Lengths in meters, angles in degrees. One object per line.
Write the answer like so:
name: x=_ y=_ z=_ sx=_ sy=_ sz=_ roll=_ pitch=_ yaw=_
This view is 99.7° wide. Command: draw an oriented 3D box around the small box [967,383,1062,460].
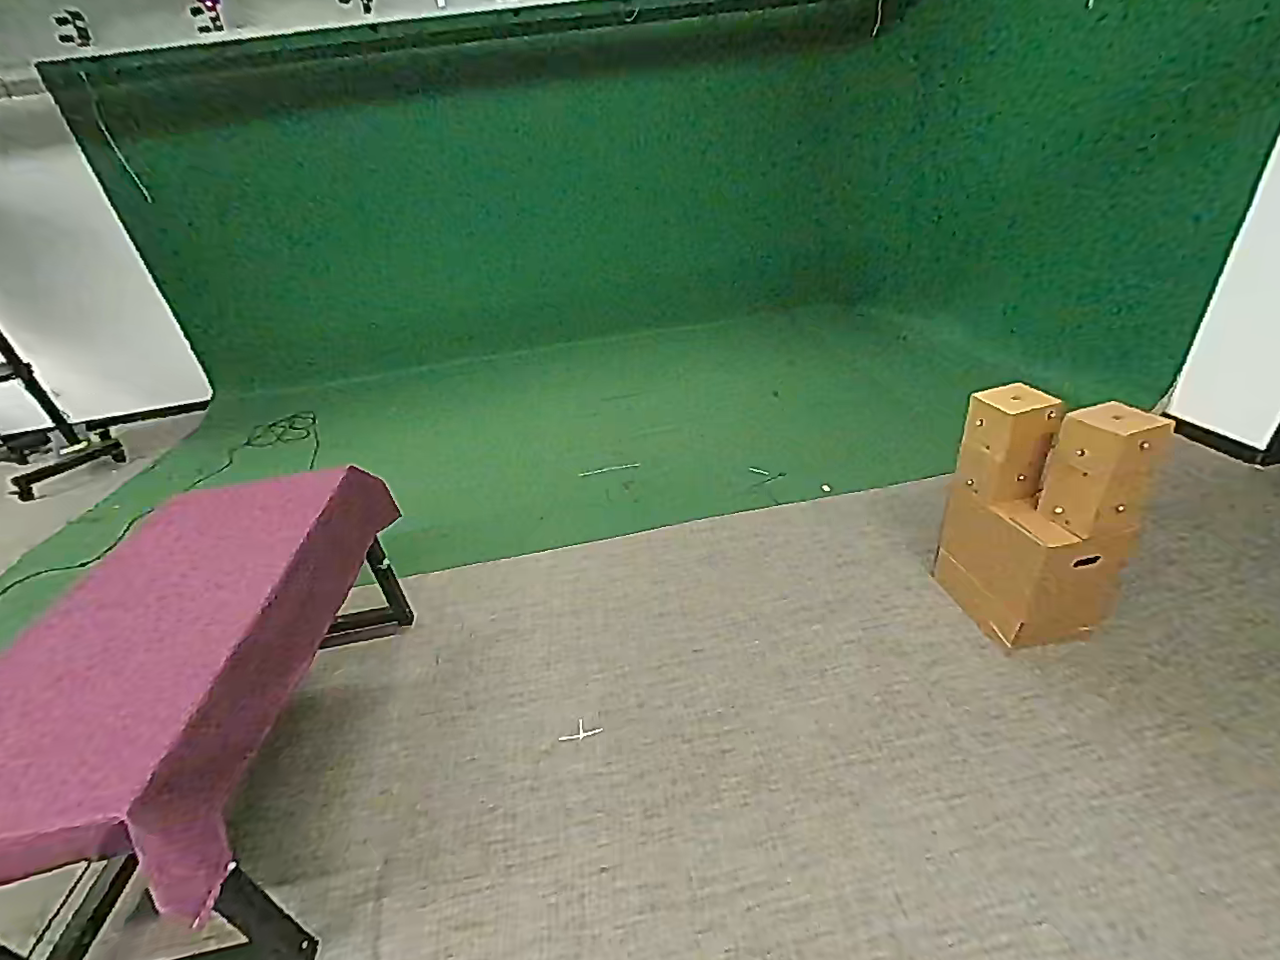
small box: x=1.152 y=-0.181 z=1.684 sx=0.179 sy=0.176 sz=0.168 roll=-14 pitch=33 yaw=-7

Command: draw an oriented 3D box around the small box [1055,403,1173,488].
small box: x=1.307 y=-0.096 z=1.508 sx=0.179 sy=0.176 sz=0.168 roll=-13 pitch=31 yaw=-10
